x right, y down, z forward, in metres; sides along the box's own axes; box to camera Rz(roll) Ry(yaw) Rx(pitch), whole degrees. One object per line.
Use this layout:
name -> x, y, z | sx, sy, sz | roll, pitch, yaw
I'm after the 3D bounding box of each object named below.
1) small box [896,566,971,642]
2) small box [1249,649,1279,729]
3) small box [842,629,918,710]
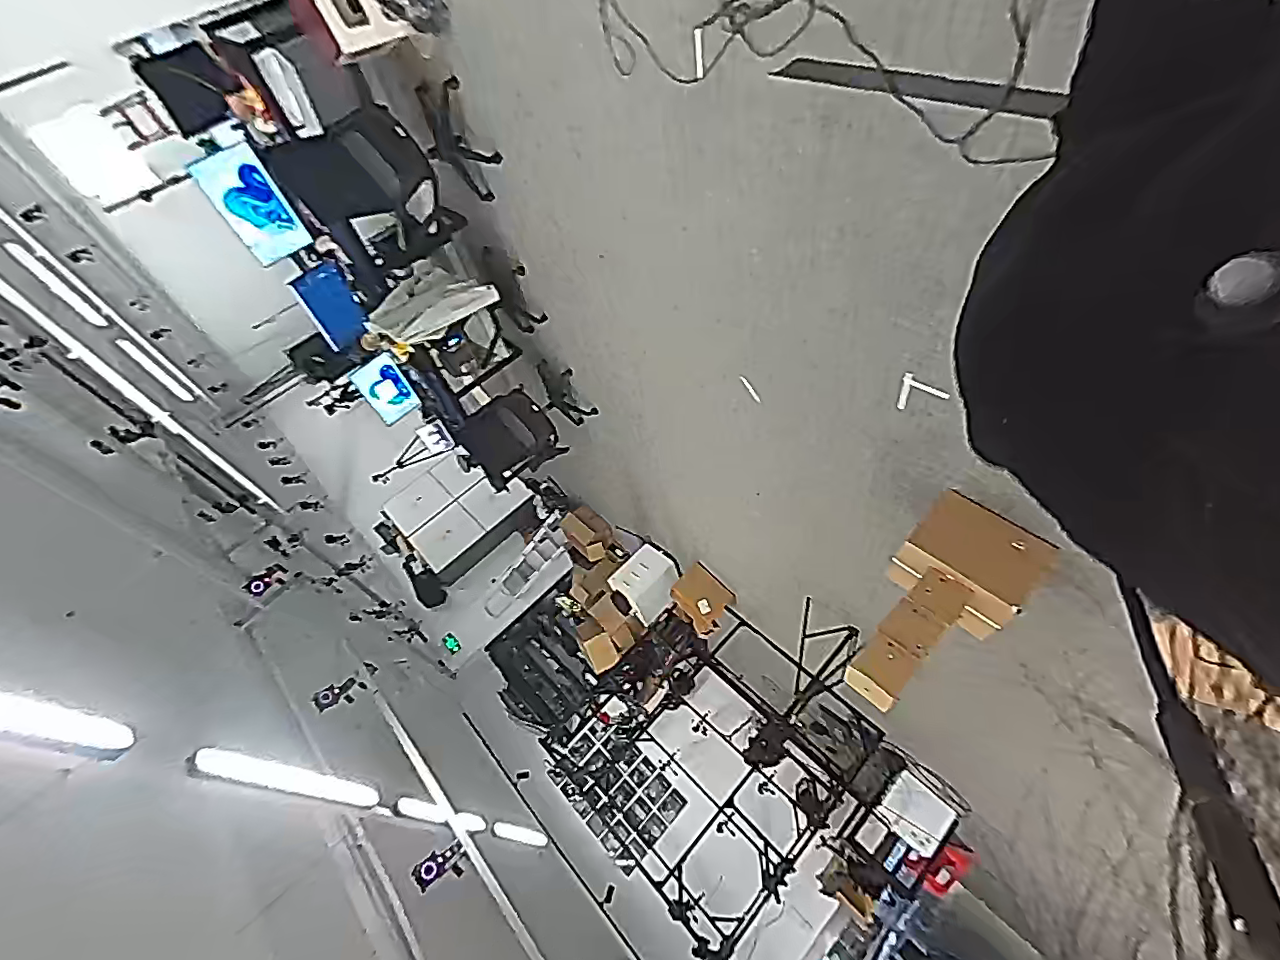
small box -> 1.061, 0.445, 1.954 | 0.168, 0.176, 0.179 | 36, 159, 34
small box -> 1.830, 0.590, 1.481 | 0.168, 0.176, 0.179 | 57, 162, -25
small box -> 0.821, 0.648, 1.855 | 0.168, 0.176, 0.179 | 36, 158, 32
